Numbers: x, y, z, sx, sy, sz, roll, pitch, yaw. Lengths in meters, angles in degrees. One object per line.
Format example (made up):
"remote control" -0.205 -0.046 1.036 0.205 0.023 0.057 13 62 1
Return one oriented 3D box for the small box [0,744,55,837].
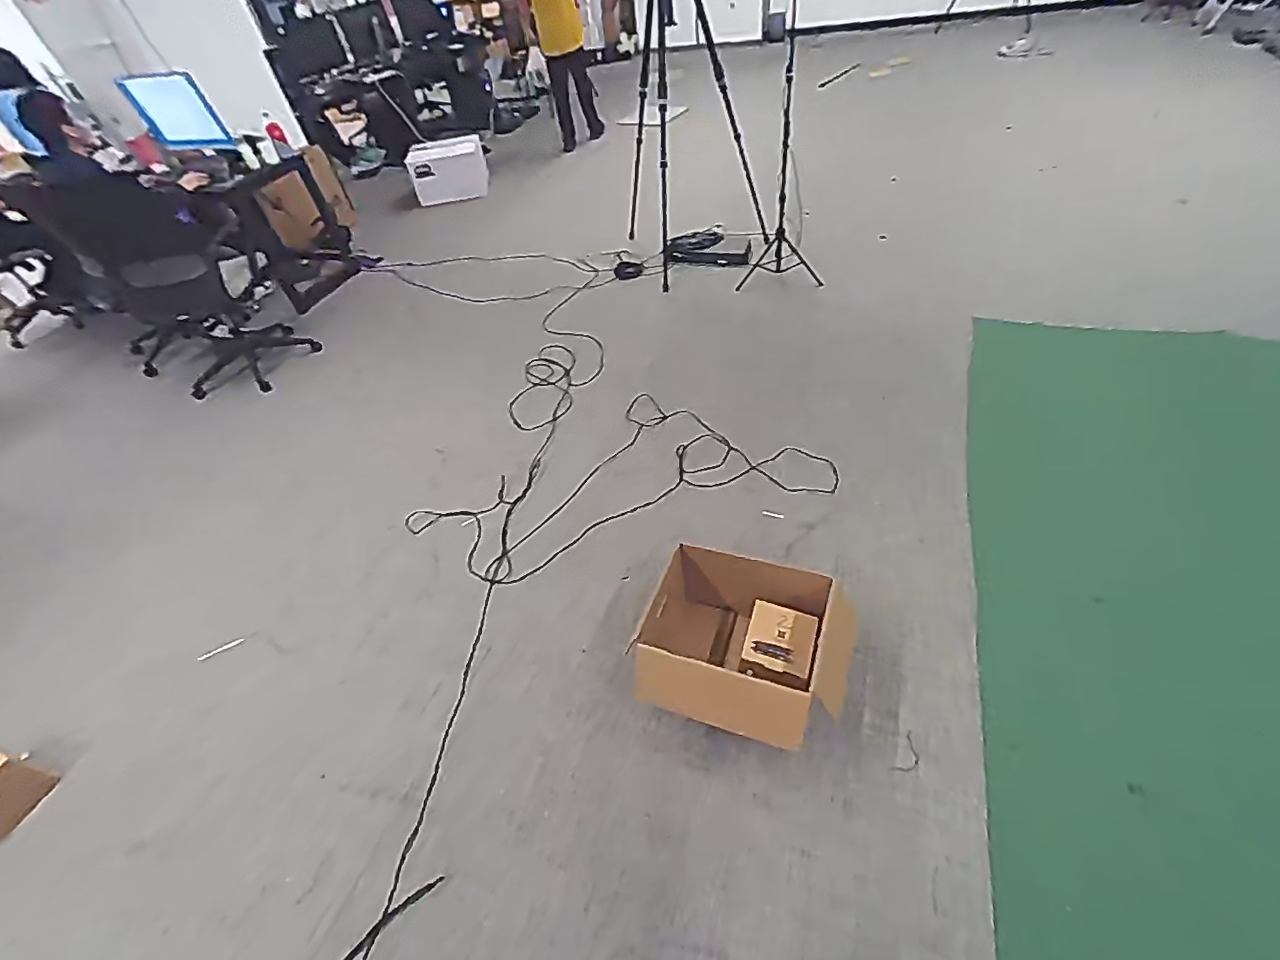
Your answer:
"small box" -1.745 0.820 1.445 0.168 0.176 0.179 10 51 17
